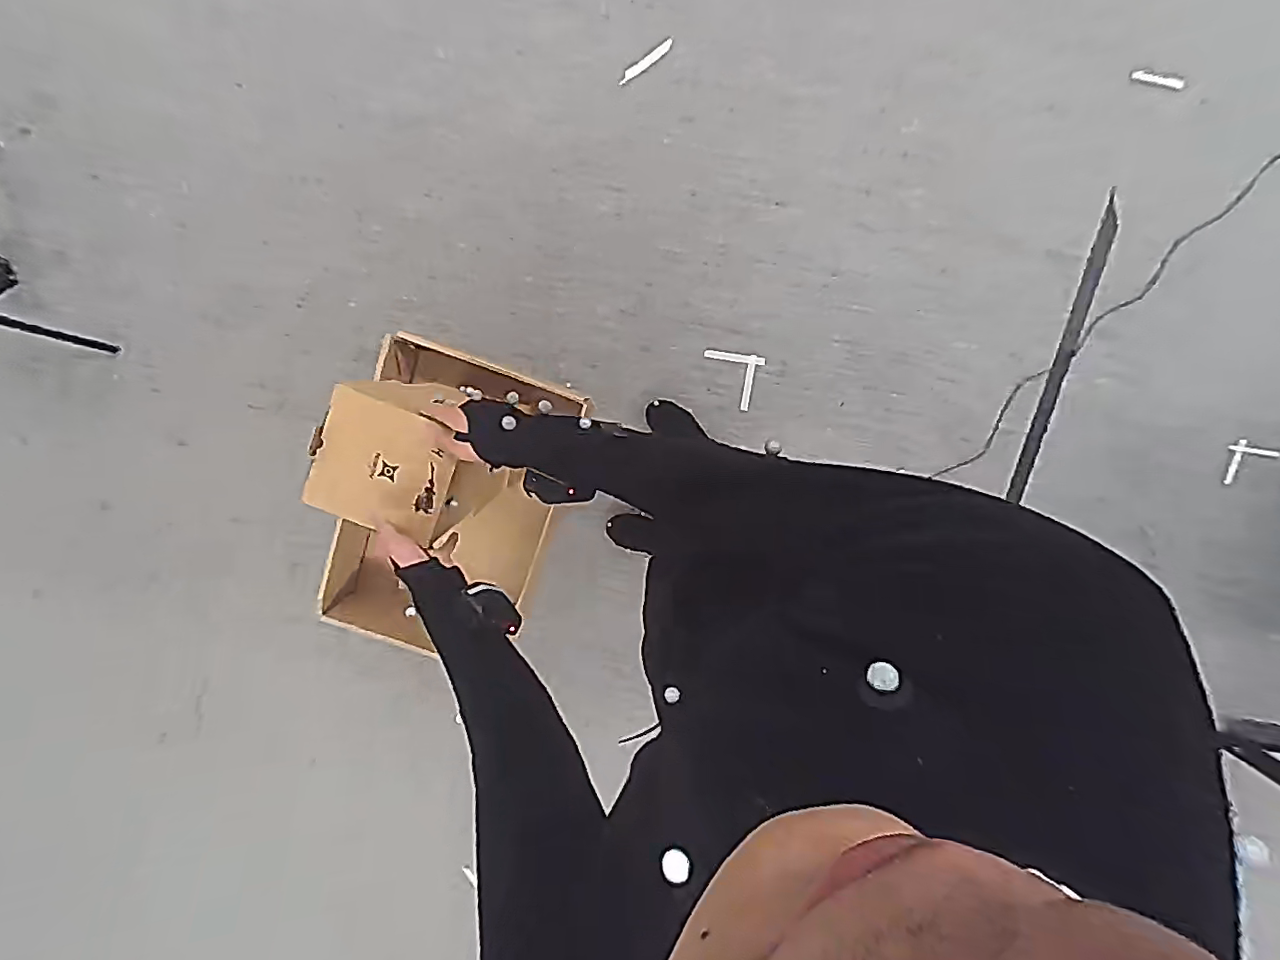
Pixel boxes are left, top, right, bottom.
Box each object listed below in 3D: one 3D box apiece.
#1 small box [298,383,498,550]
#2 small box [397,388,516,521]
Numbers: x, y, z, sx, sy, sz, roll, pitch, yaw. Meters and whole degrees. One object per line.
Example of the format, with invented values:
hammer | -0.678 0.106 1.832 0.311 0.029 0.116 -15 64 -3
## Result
small box | -0.327 -0.026 0.761 0.179 0.176 0.168 22 100 -3
small box | -0.323 -0.051 0.923 0.168 0.176 0.179 16 100 -3
